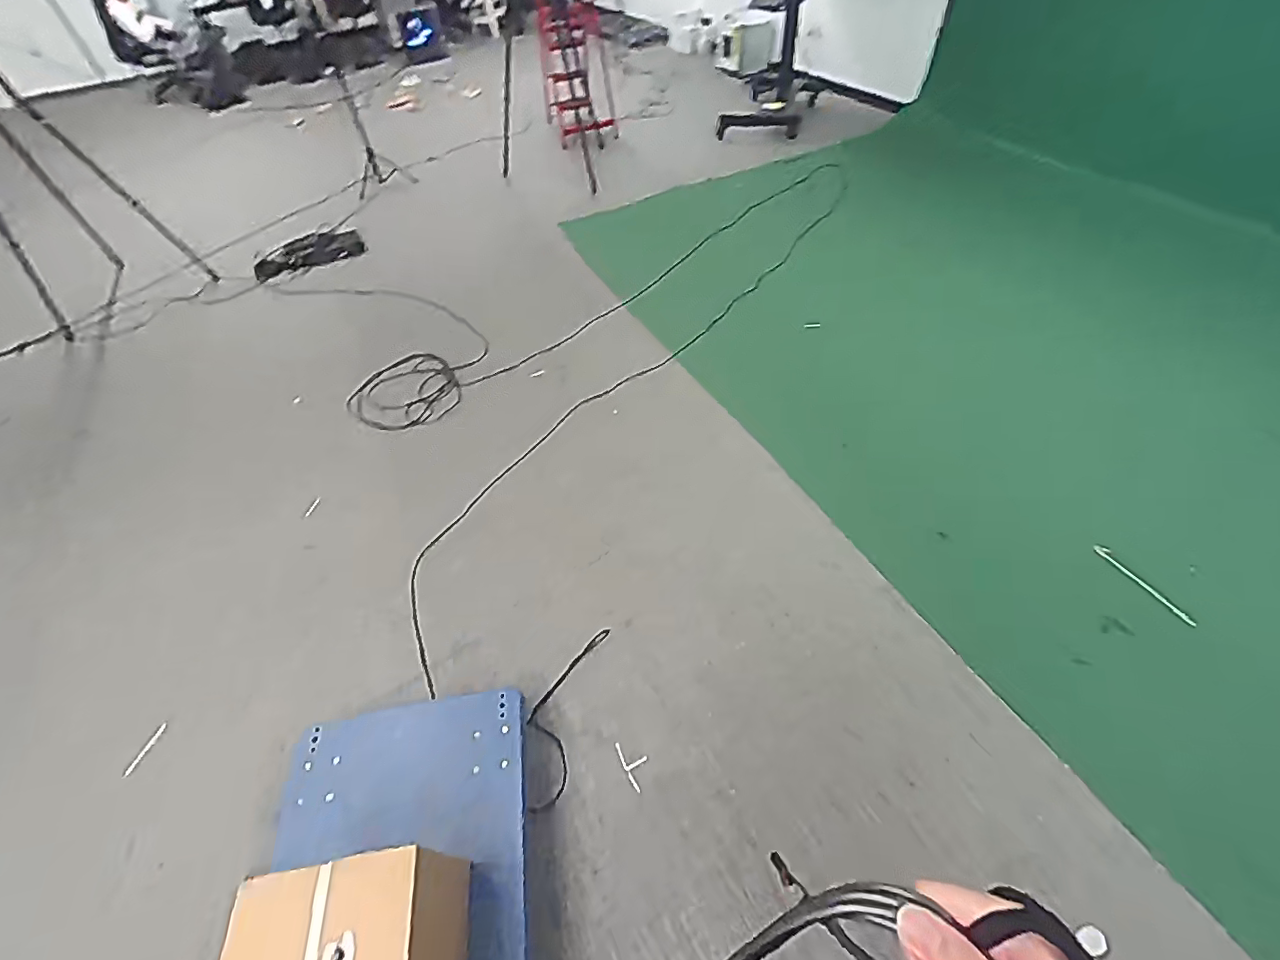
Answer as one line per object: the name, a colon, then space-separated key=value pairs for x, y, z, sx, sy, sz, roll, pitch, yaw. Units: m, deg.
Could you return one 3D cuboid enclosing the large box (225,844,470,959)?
large box: x=-0.498 y=0.921 z=0.940 sx=0.320 sy=0.320 sz=0.408 roll=-10 pitch=49 yaw=-3
